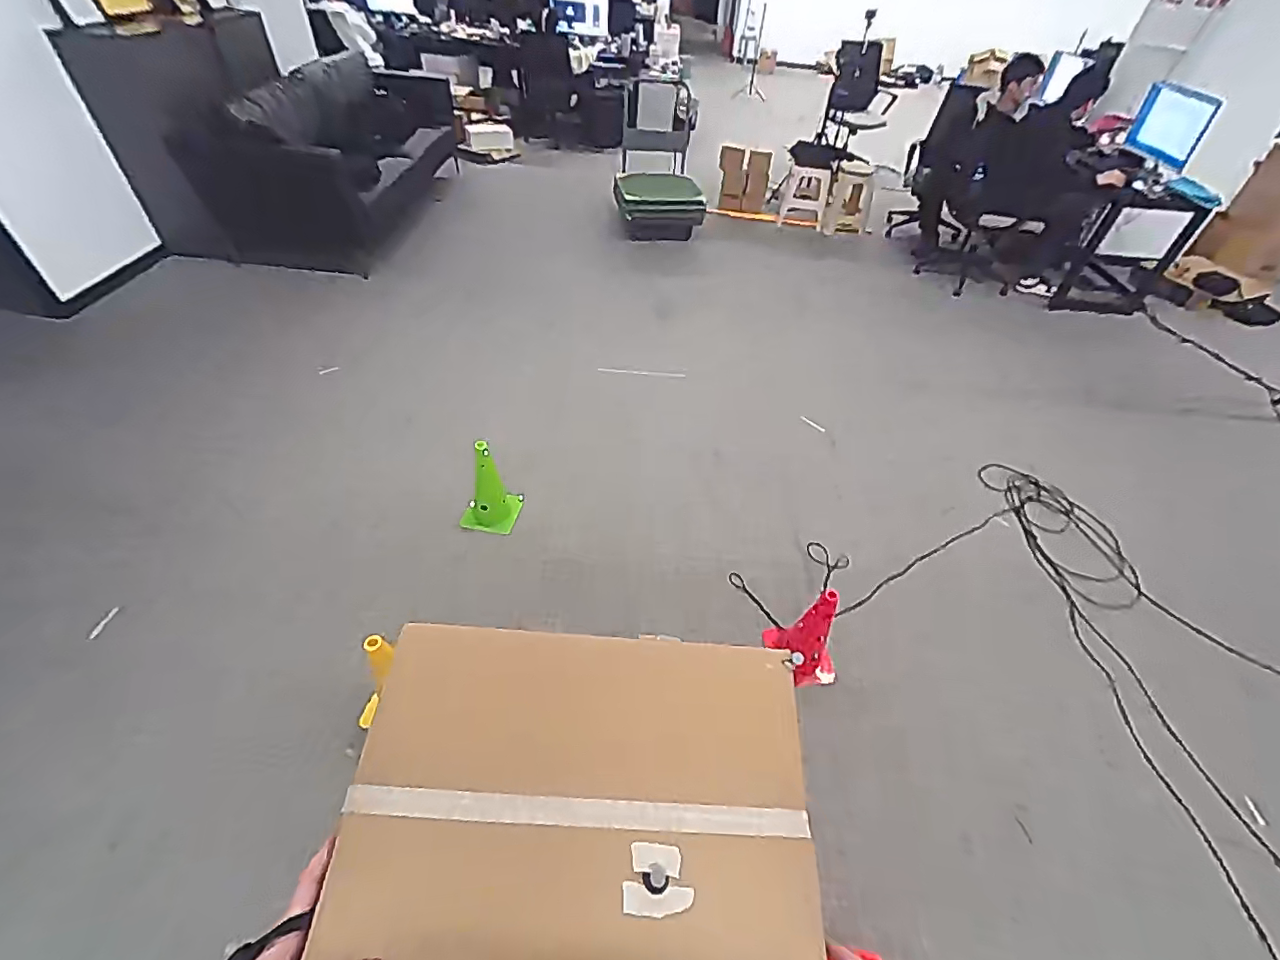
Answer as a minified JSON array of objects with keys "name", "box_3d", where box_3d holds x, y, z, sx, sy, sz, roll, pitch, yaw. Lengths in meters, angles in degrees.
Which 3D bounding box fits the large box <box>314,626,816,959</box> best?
[{"name":"large box","box_3d":[-0.064,0.377,0.610,0.408,0.320,0.320,5,55,-2]}]

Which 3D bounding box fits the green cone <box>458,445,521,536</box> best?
[{"name":"green cone","box_3d":[-0.573,0.012,1.986,0.200,0.368,0.202,9,46,4]}]
